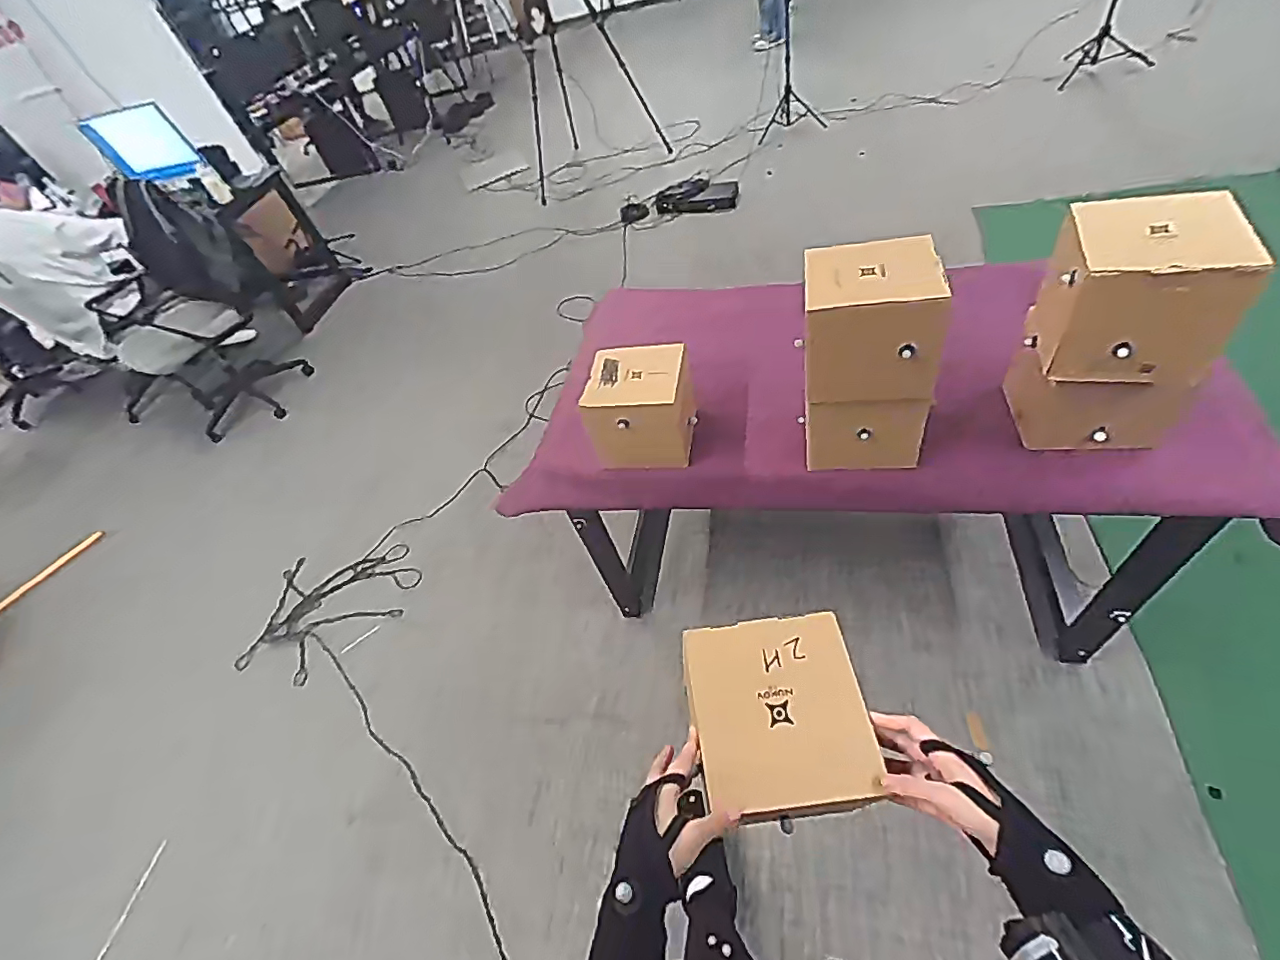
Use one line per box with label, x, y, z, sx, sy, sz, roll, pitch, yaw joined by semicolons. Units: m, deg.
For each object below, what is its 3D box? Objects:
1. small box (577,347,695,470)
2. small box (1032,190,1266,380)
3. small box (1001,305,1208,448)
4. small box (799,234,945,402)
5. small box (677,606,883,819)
small box;0.001;-0.131;1.036;0.179;0.176;0.168;-1;49;16
small box;0.645;-0.254;0.718;0.168;0.176;0.179;5;52;23
small box;0.701;-0.164;0.844;0.179;0.176;0.168;-1;49;17
small box;0.328;-0.232;0.798;0.179;0.176;0.168;-1;48;18
small box;0.137;0.260;0.590;0.168;0.176;0.179;-8;53;1
